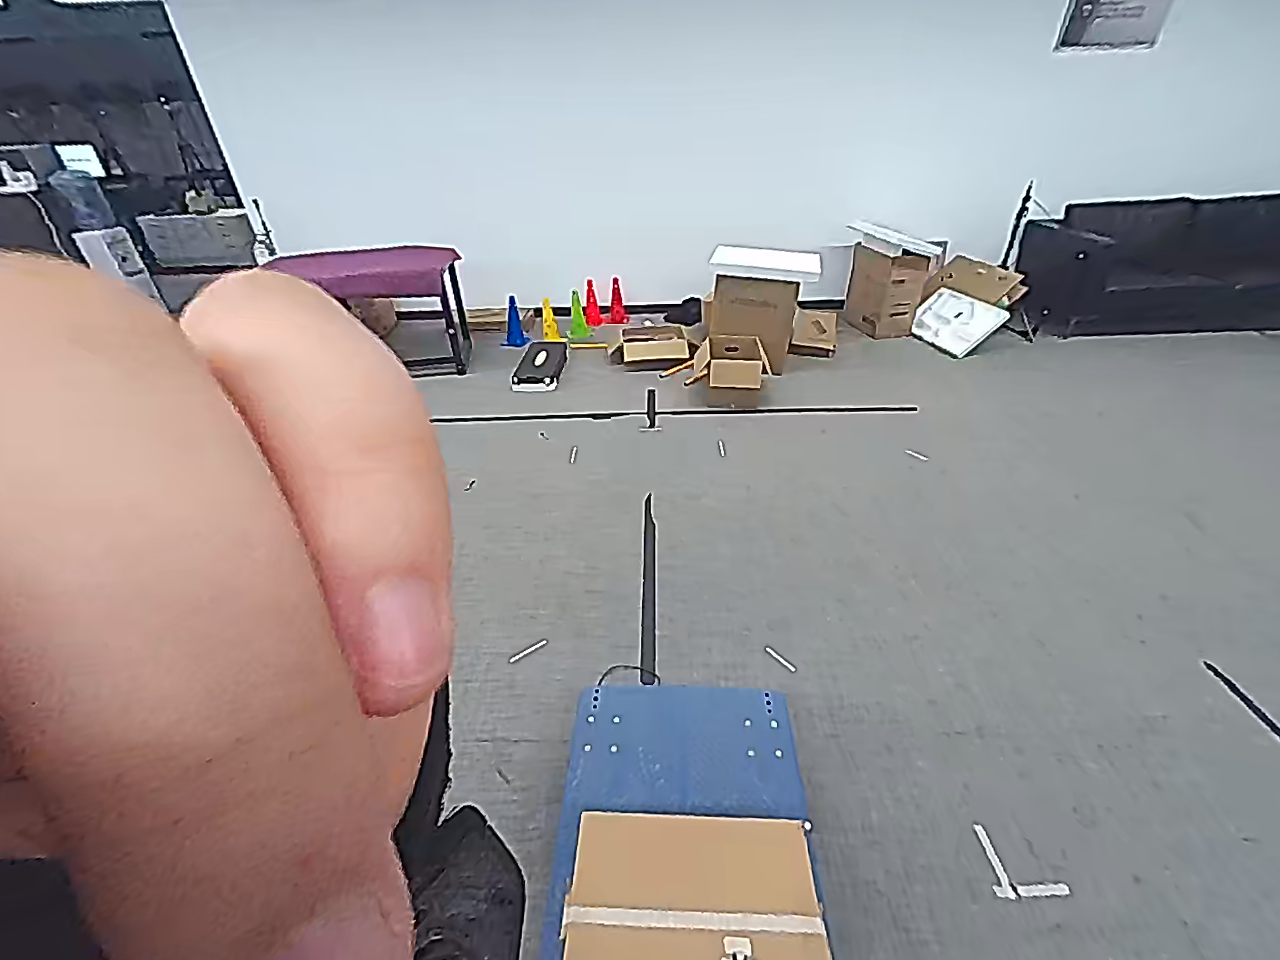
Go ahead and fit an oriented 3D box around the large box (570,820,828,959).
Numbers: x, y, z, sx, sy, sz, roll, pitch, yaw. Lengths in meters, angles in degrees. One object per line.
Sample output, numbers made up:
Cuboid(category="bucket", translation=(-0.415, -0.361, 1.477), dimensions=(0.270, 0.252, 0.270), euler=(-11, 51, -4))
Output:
Cuboid(category="large box", translation=(0.091, 0.836, 0.942), dimensions=(0.408, 0.320, 0.320), euler=(1, 35, 2))
